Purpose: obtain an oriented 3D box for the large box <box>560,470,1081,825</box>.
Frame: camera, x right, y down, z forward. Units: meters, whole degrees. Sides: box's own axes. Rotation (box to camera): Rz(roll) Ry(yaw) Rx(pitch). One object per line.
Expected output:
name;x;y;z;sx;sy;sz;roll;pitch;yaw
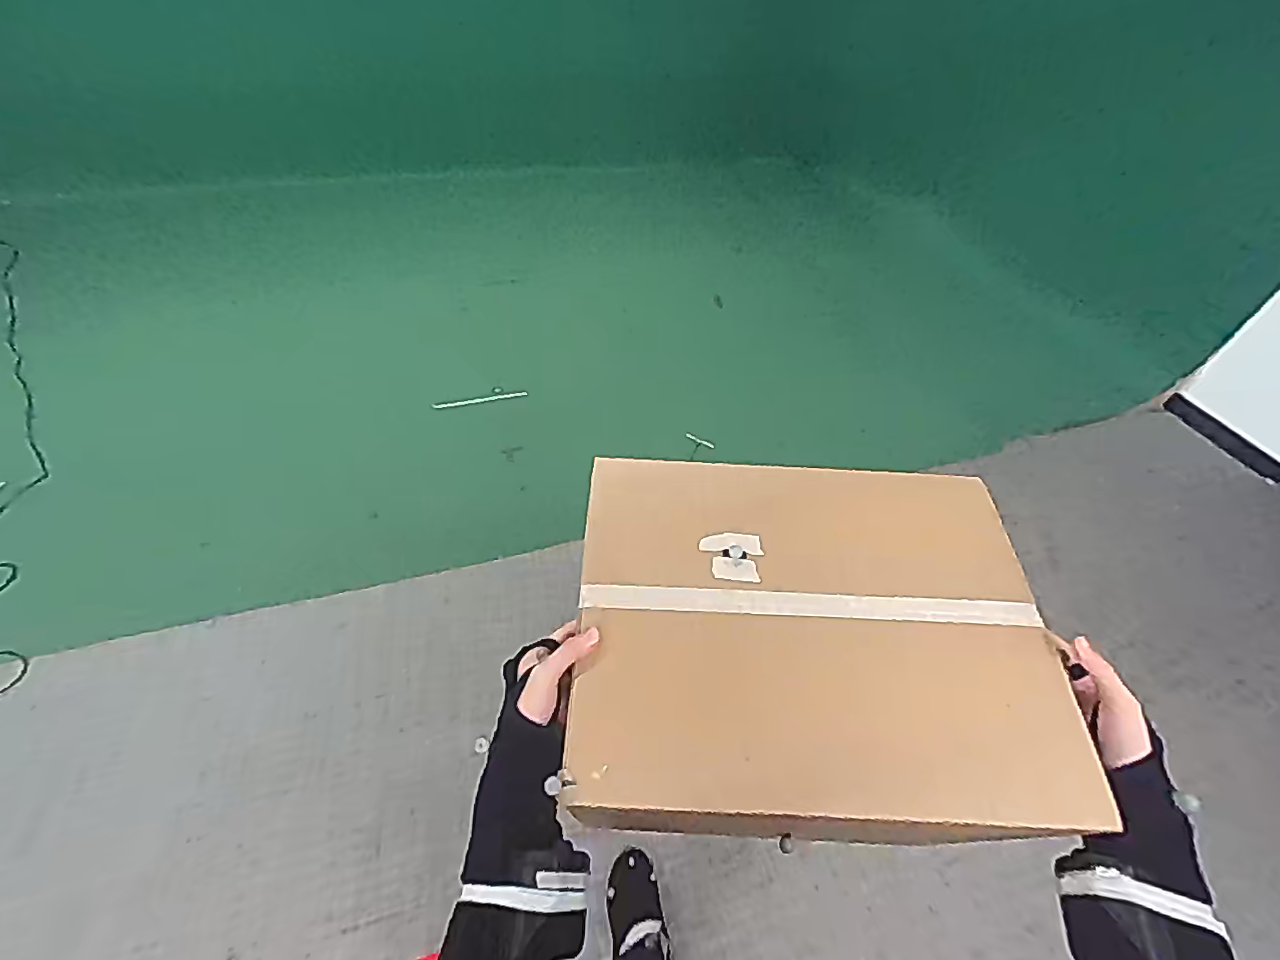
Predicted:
large box;0.141;0.204;0.613;0.408;0.320;0.320;2;55;1
